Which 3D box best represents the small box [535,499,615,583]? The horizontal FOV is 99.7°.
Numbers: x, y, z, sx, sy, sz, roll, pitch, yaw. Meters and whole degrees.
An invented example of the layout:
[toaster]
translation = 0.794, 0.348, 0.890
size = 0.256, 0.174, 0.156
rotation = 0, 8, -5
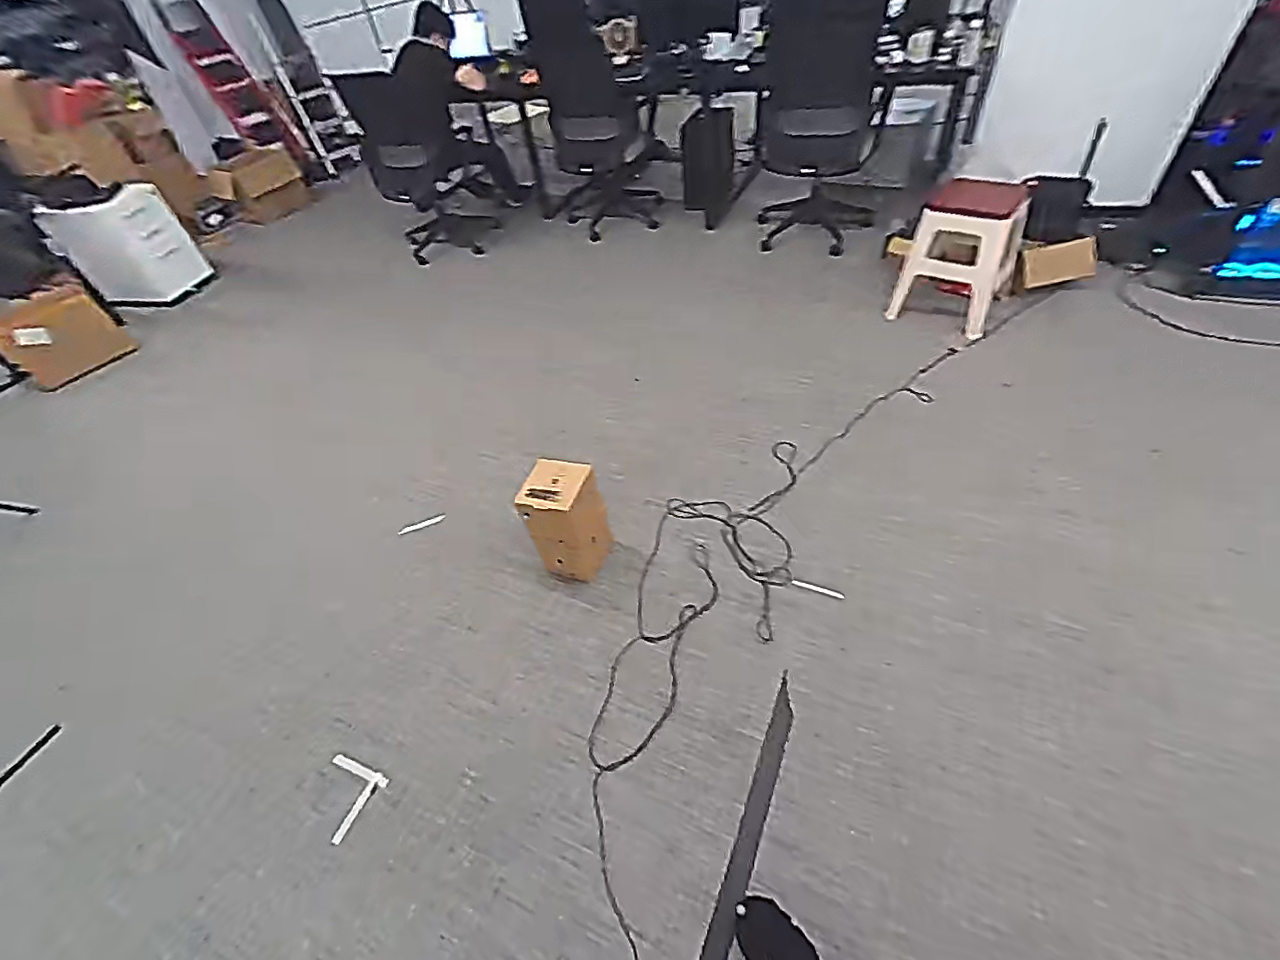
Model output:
[small box]
translation = -0.190, 0.189, 1.660
size = 0.168, 0.176, 0.179
rotation = 12, 50, 21
